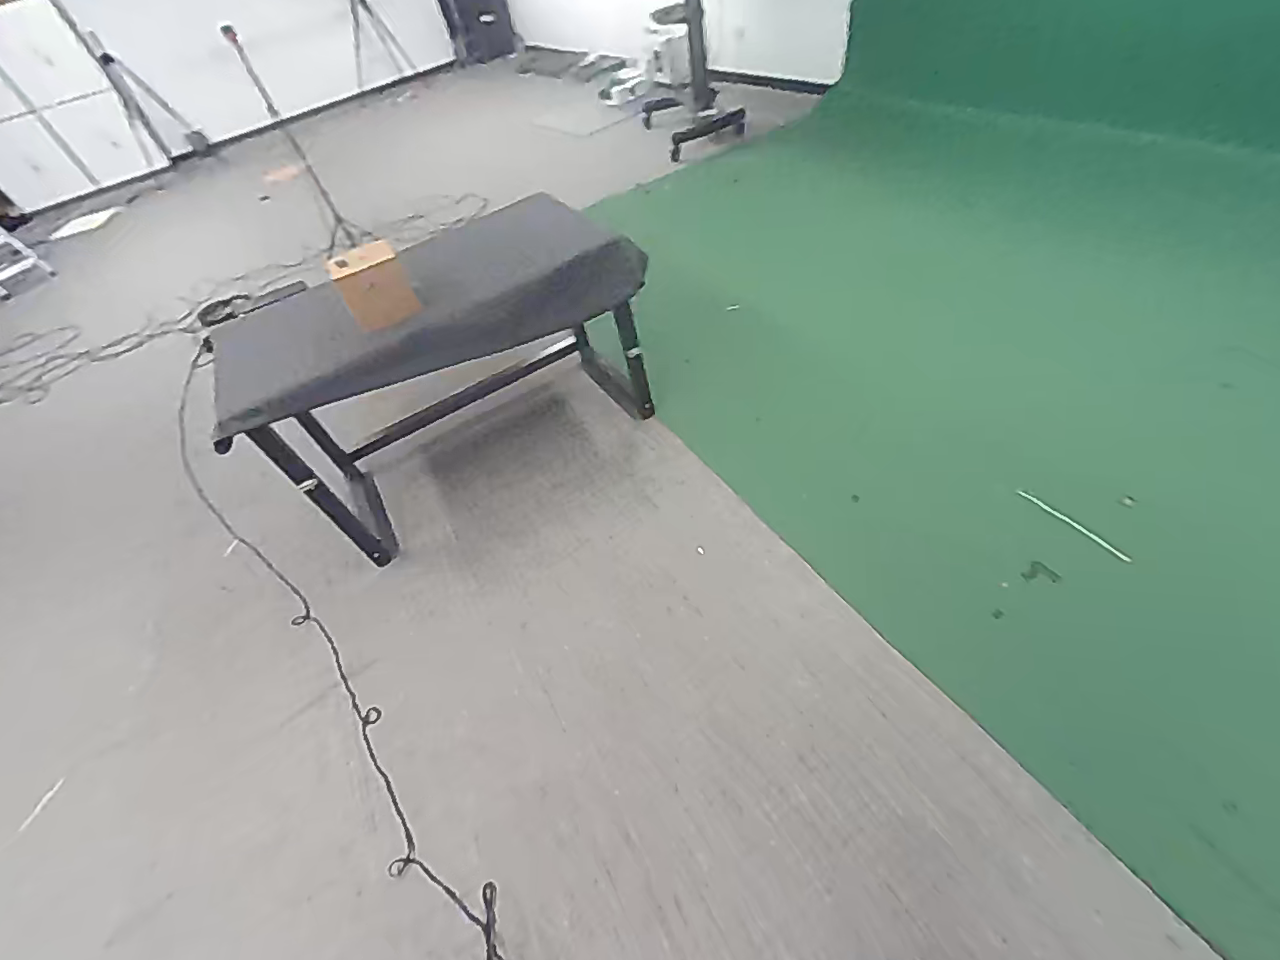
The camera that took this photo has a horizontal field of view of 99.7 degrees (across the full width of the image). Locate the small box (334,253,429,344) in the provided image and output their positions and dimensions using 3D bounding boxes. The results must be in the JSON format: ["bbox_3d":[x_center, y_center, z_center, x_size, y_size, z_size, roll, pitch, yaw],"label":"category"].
[{"bbox_3d":[-0.738,-0.517,1.549,0.179,0.176,0.168,-28,48,-13],"label":"small box"}]
